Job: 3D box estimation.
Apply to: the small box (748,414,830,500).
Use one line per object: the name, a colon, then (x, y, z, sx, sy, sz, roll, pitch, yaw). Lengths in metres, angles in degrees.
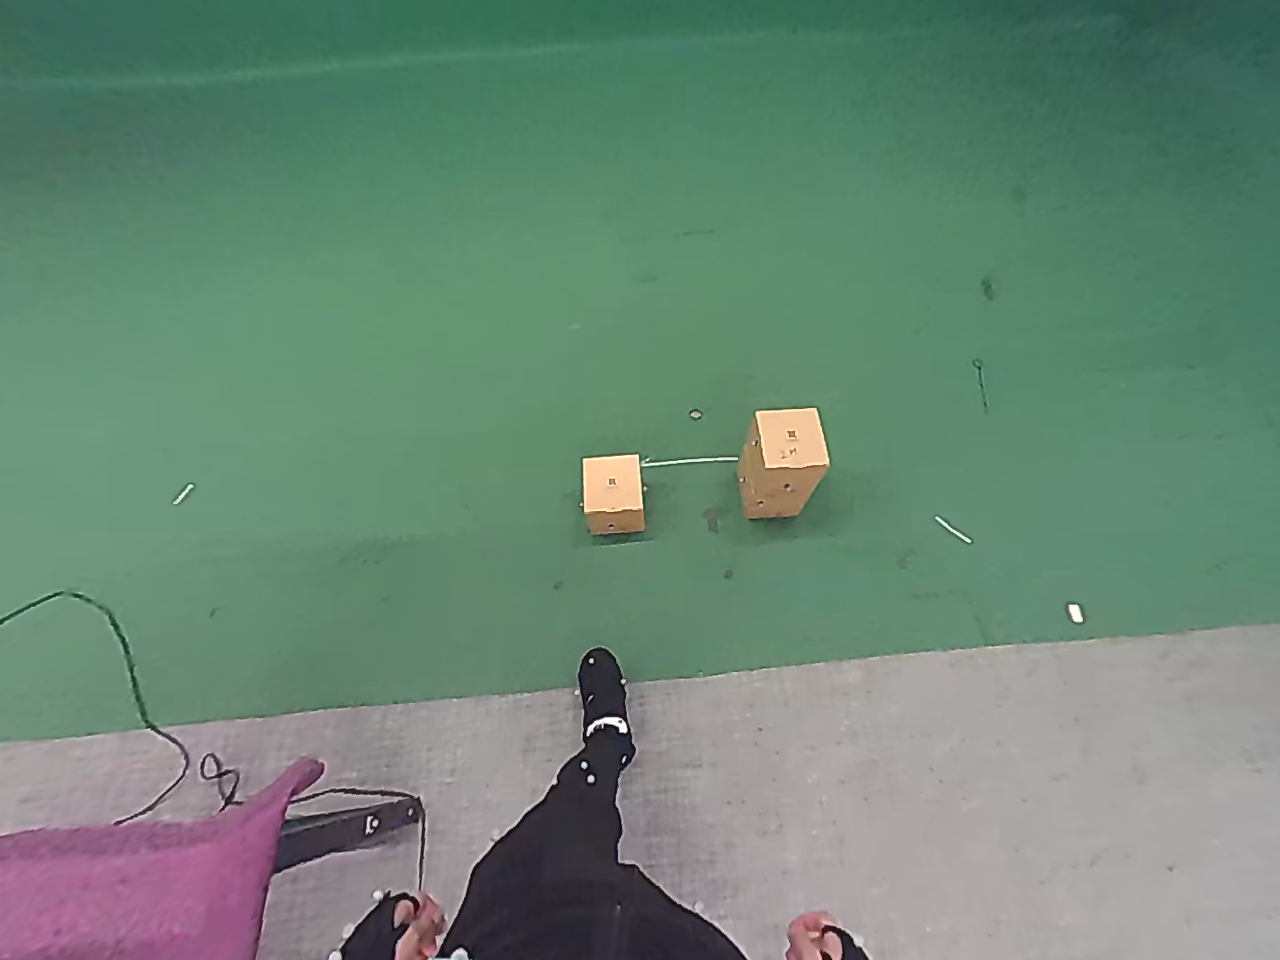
small box: (0.395, -0.059, 1.468, 0.168, 0.176, 0.179, -3, 63, -1)

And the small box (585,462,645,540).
small box: (-0.073, 0.064, 1.602, 0.168, 0.176, 0.179, -5, 64, -1)
